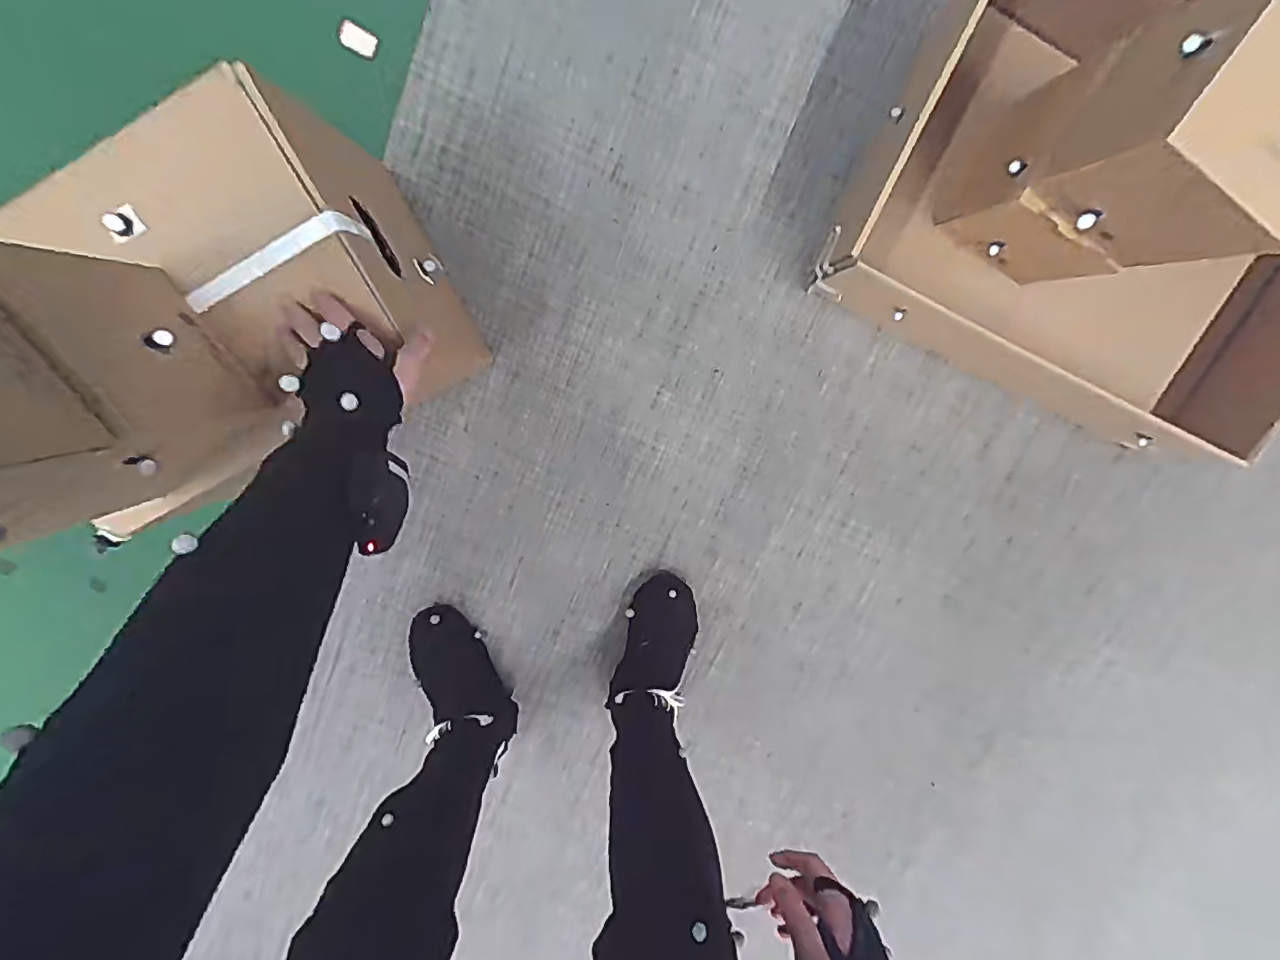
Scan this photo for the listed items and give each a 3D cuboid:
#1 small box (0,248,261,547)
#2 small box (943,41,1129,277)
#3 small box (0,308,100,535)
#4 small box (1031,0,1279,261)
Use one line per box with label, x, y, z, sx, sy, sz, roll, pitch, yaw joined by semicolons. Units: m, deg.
small box;-0.480;-0.074;0.469;0.179;0.176;0.168;-34;101;7
small box;0.526;-0.376;0.674;0.168;0.176;0.179;26;104;-10
small box;-0.487;-0.030;0.311;0.179;0.176;0.168;-33;102;6
small box;0.537;-0.337;0.516;0.168;0.176;0.179;30;103;-10
